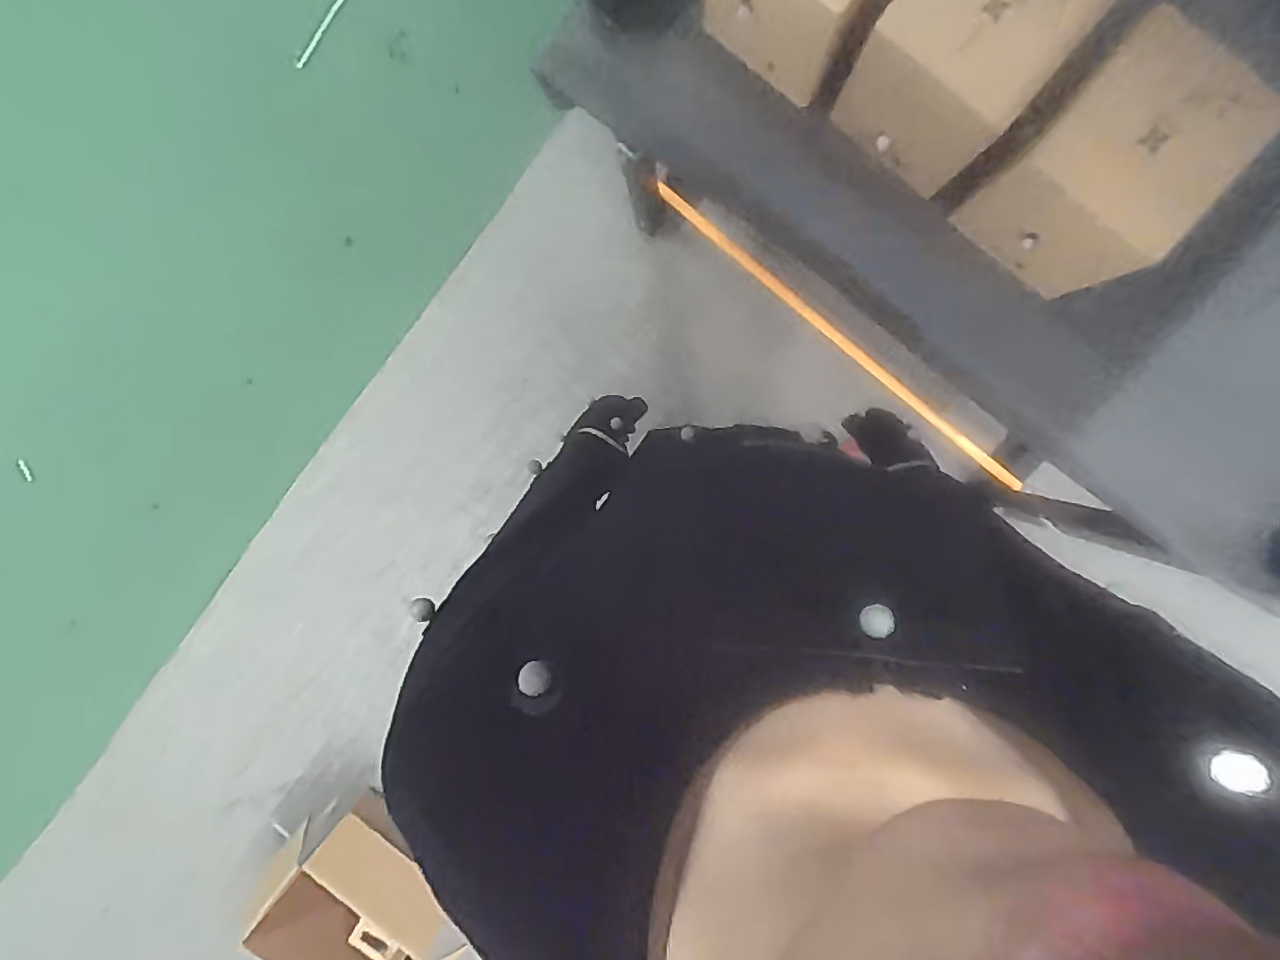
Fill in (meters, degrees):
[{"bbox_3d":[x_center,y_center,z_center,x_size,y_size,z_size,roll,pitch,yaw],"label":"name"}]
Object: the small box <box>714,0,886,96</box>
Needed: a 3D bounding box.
[{"bbox_3d":[0.192,-0.578,0.587,0.168,0.176,0.179,39,98,-1],"label":"small box"}]
